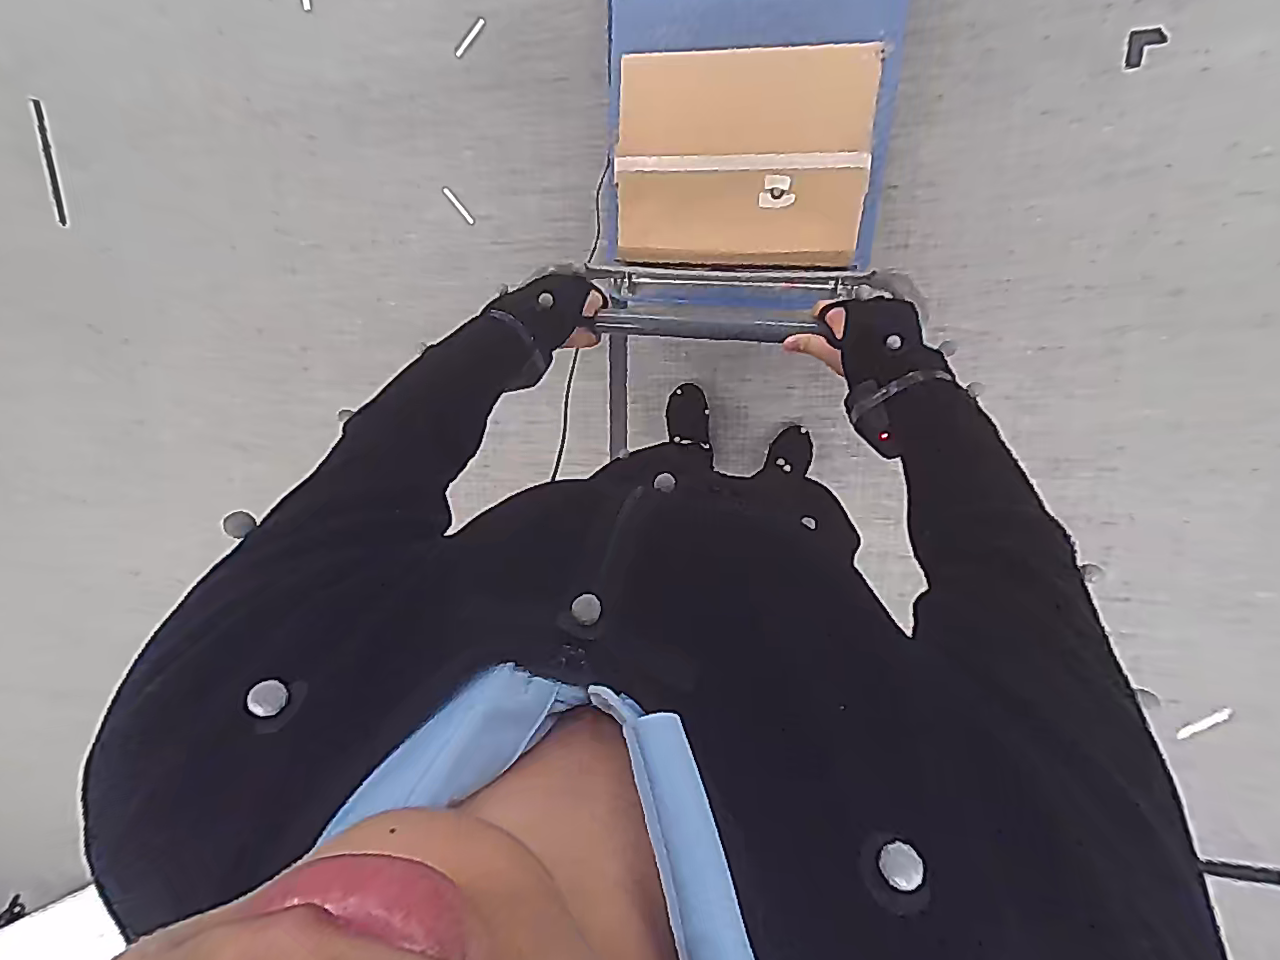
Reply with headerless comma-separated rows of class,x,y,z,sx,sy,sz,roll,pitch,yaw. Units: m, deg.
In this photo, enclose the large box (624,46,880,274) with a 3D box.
large box,0.194,-0.571,1.038,0.408,0.320,0.320,5,109,10
